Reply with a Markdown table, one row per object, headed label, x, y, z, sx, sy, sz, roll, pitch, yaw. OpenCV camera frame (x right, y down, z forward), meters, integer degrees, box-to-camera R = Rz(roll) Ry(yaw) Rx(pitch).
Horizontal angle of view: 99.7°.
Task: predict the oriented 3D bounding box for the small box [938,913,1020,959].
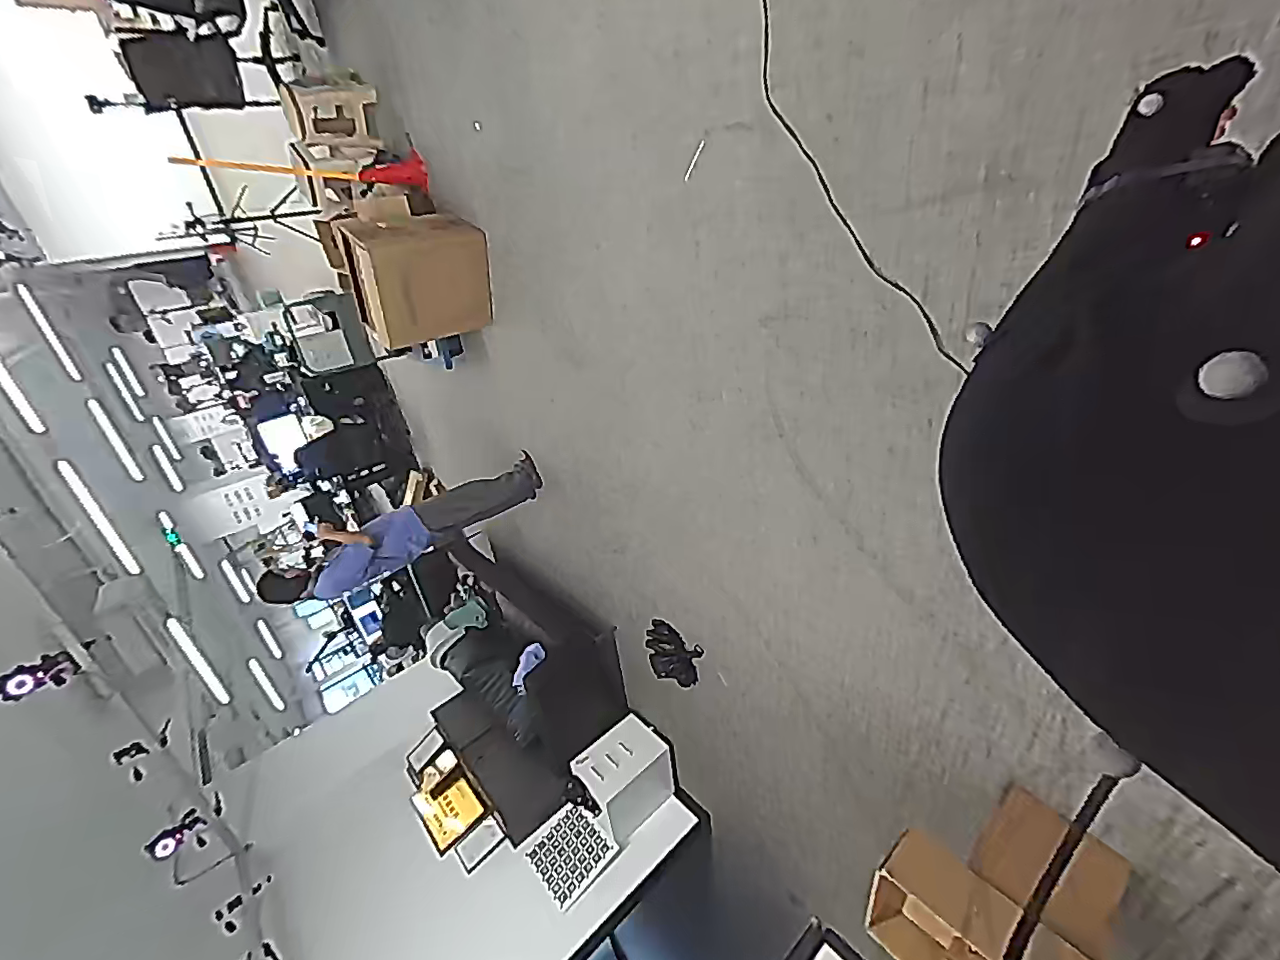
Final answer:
| label | x | y | z | sx | sy | sz | roll | pitch | yaw |
| --- | --- | --- | --- | --- | --- | --- | --- | --- | --- |
| small box | 0.939 | 1.368 | 1.500 | 0.168 | 0.176 | 0.179 | 23 | 133 | 46 |
